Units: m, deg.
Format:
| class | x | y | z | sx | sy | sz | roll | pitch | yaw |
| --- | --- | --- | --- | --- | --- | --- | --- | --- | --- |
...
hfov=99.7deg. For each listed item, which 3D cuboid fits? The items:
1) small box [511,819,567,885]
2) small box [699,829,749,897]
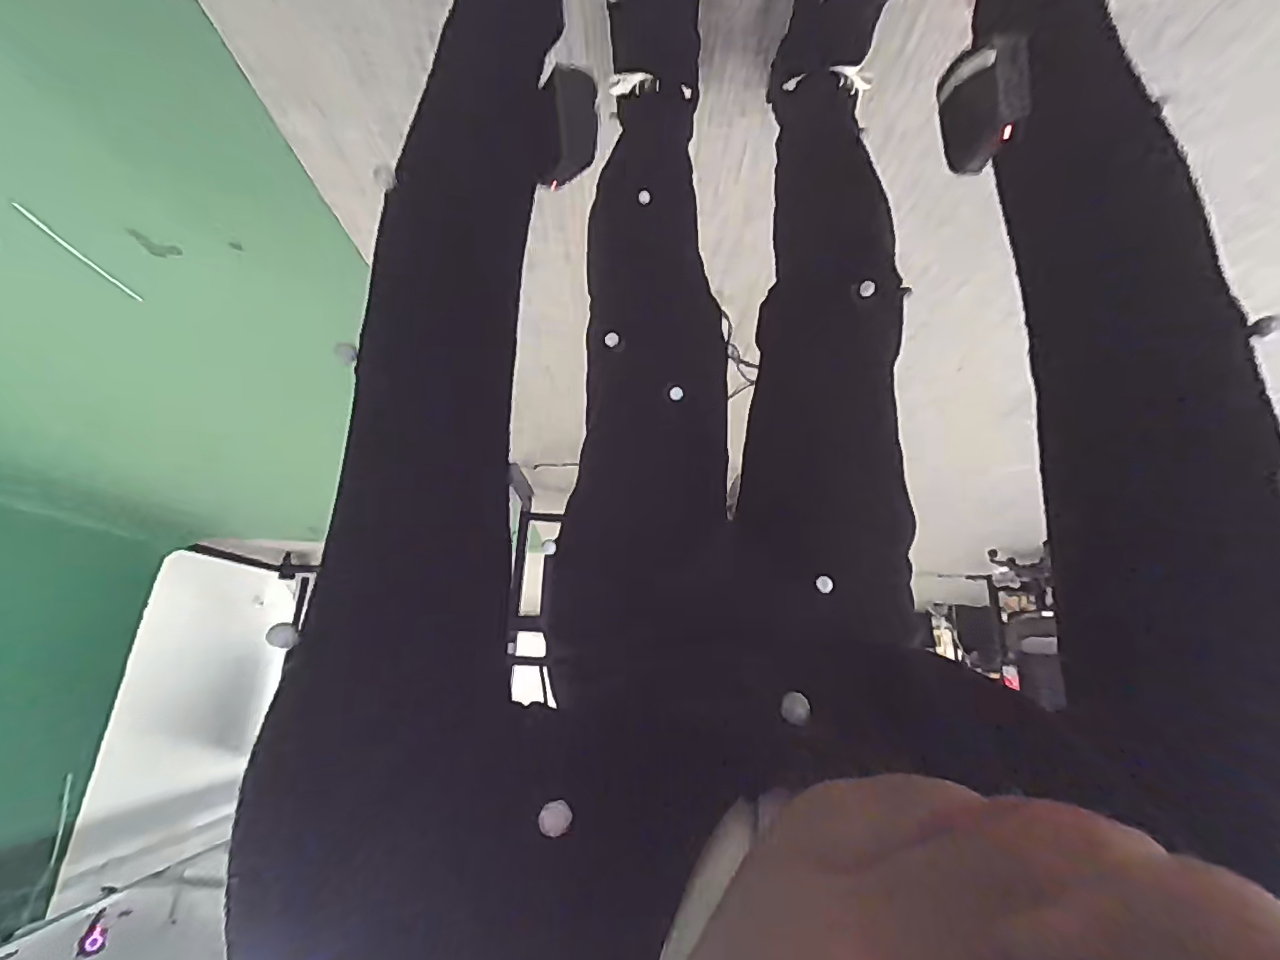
| class | x | y | z | sx | sy | sz | roll | pitch | yaw |
| --- | --- | --- | --- | --- | --- | --- | --- | --- | --- |
| small box | -0.384 | 1.431 | 2.090 | 0.179 | 0.176 | 0.168 | 3 | 163 | 1 |
| small box | 0.320 | 1.461 | 2.072 | 0.179 | 0.176 | 0.168 | 3 | 161 | 4 |
